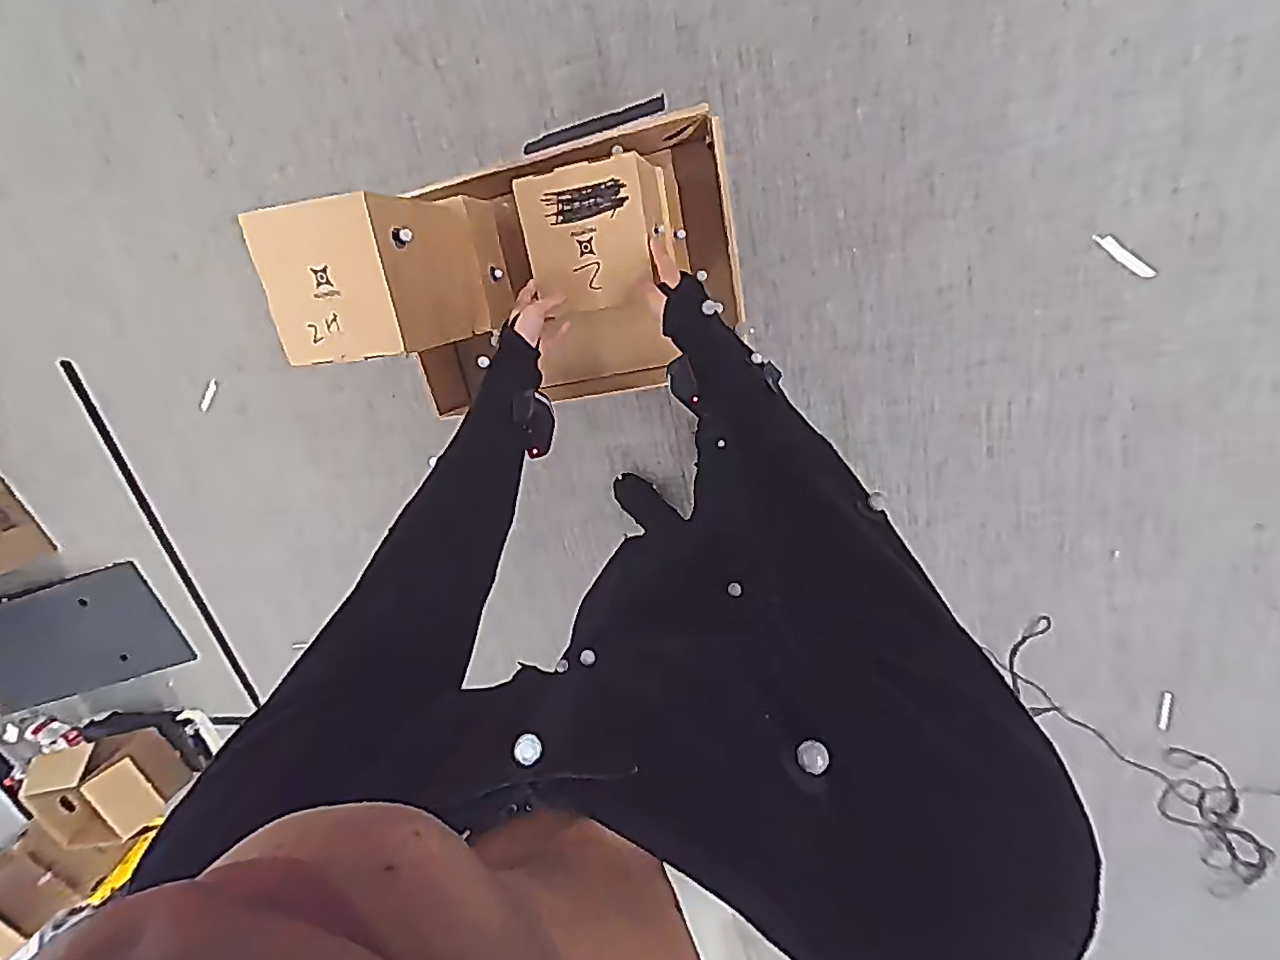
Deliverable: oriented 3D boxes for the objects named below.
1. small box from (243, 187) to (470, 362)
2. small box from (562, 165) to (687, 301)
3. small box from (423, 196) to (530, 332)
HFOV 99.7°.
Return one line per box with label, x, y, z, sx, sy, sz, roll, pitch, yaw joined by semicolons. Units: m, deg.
small box;-0.344;-0.258;0.693;0.168;0.176;0.179;-3;112;12
small box;-0.017;-0.414;0.925;0.168;0.176;0.179;-5;112;14
small box;-0.285;-0.324;0.835;0.168;0.176;0.179;-4;111;12
